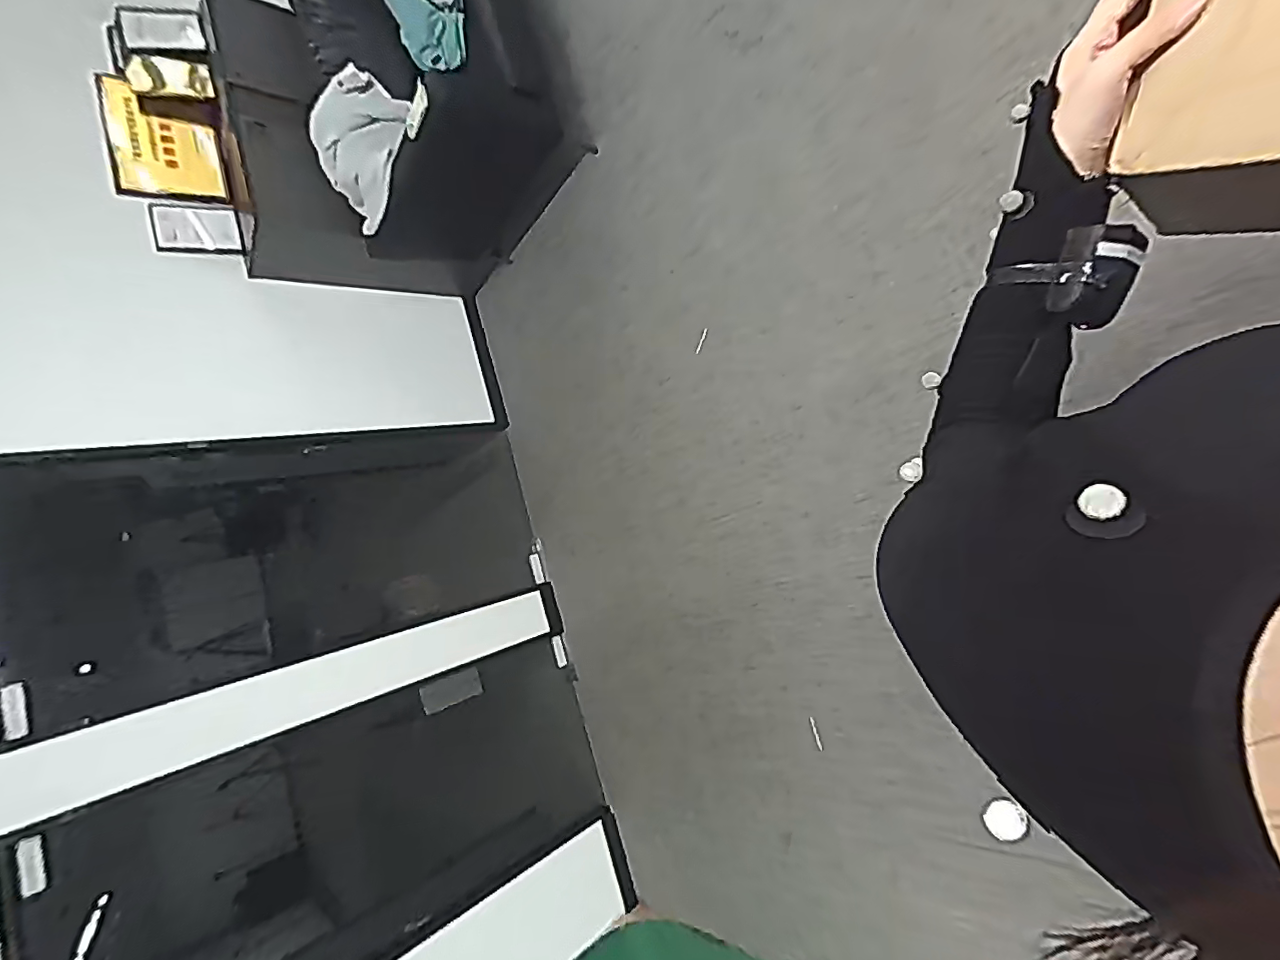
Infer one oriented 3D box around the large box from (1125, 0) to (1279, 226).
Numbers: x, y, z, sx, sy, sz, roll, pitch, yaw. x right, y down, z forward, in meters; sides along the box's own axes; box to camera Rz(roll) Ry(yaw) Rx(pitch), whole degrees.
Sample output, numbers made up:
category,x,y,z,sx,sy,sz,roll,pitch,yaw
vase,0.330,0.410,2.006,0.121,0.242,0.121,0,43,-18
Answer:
category,x,y,z,sx,sy,sz,roll,pitch,yaw
large box,0.584,-0.349,0.300,0.408,0.320,0.320,19,114,43
